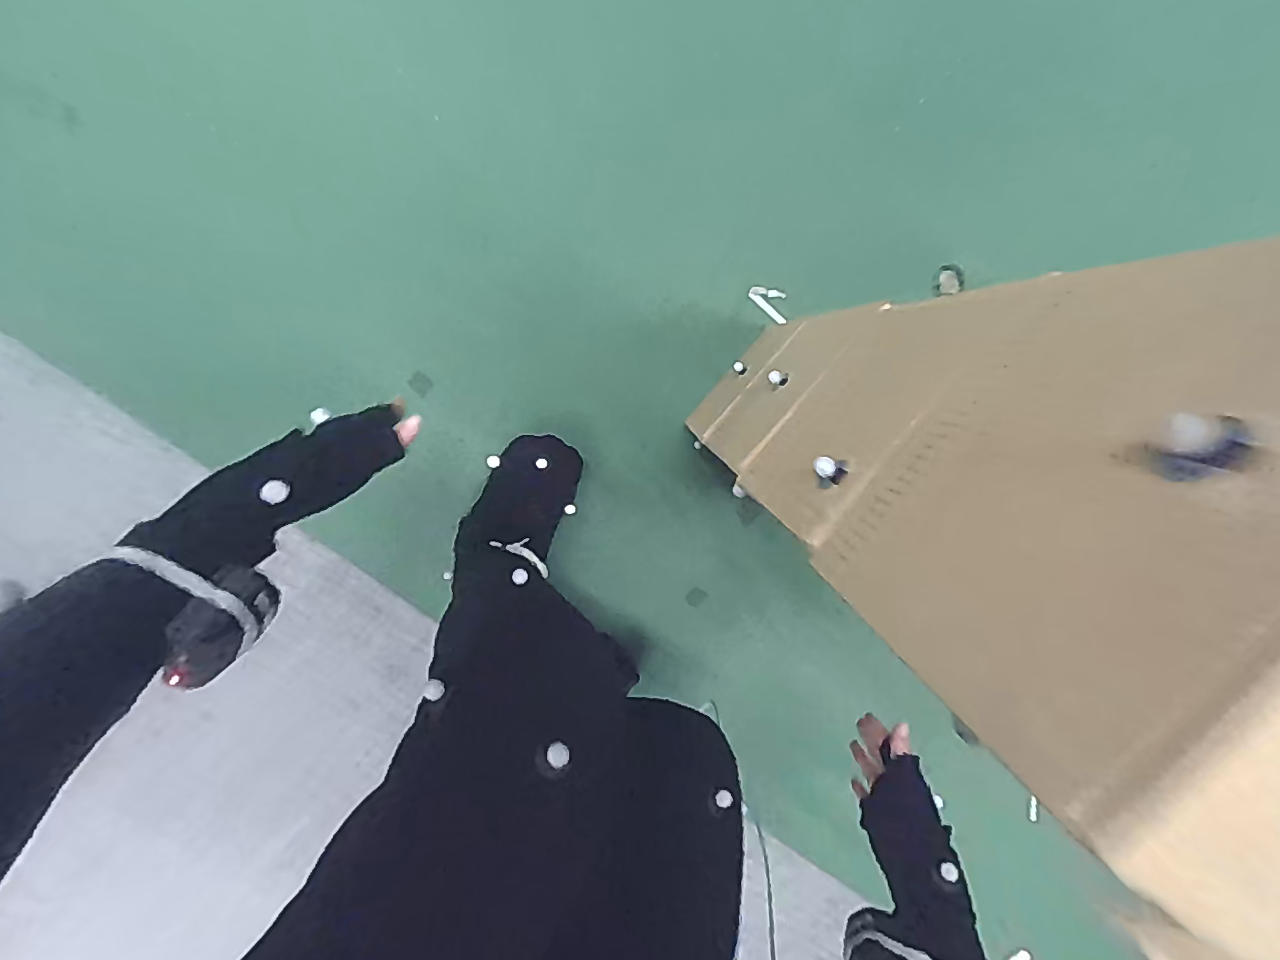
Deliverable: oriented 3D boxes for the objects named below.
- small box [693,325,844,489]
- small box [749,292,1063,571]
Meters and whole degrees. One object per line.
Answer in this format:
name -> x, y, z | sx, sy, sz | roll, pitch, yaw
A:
small box -> 0.181, -0.071, 0.682 | 0.168, 0.176, 0.179 | 40, 98, -10
small box -> 0.199, 0.003, 0.364 | 0.168, 0.176, 0.179 | 37, 99, -10
